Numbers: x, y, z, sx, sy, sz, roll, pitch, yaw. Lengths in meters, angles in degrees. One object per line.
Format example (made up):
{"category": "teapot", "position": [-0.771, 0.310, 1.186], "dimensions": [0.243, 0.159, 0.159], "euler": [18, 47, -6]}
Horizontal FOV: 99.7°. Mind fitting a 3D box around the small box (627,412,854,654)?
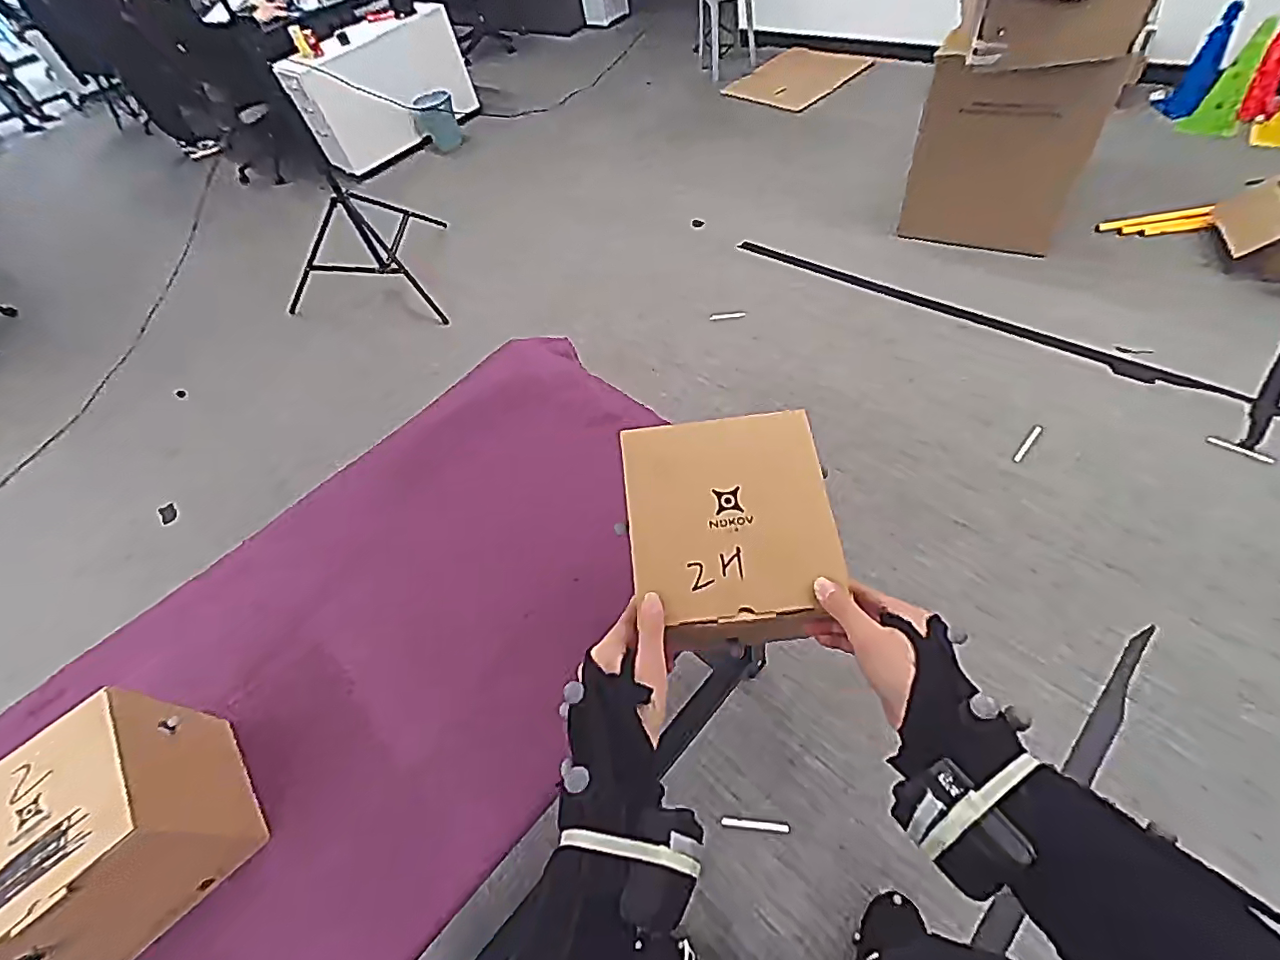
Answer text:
{"category": "small box", "position": [0.079, 0.059, 0.514], "dimensions": [0.168, 0.176, 0.179], "euler": [-6, 65, 2]}
